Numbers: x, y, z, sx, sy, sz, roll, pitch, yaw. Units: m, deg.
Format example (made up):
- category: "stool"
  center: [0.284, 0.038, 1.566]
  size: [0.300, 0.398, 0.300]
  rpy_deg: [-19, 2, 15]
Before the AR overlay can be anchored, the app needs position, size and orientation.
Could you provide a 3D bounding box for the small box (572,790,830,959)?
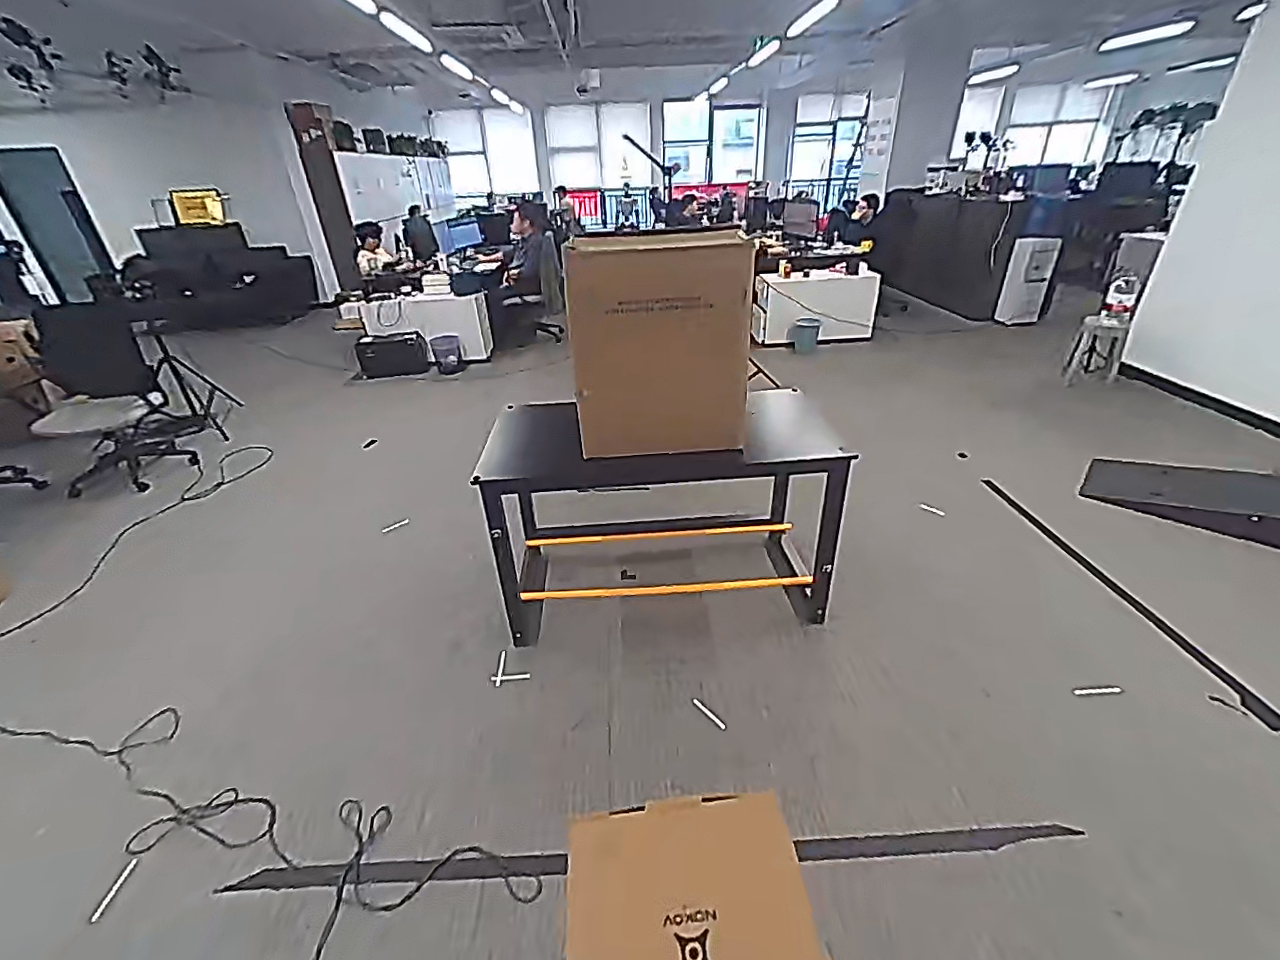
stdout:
- category: "small box"
  center: [0.044, 0.365, 0.396]
  size: [0.168, 0.176, 0.179]
  rpy_deg: [-8, 36, -1]
